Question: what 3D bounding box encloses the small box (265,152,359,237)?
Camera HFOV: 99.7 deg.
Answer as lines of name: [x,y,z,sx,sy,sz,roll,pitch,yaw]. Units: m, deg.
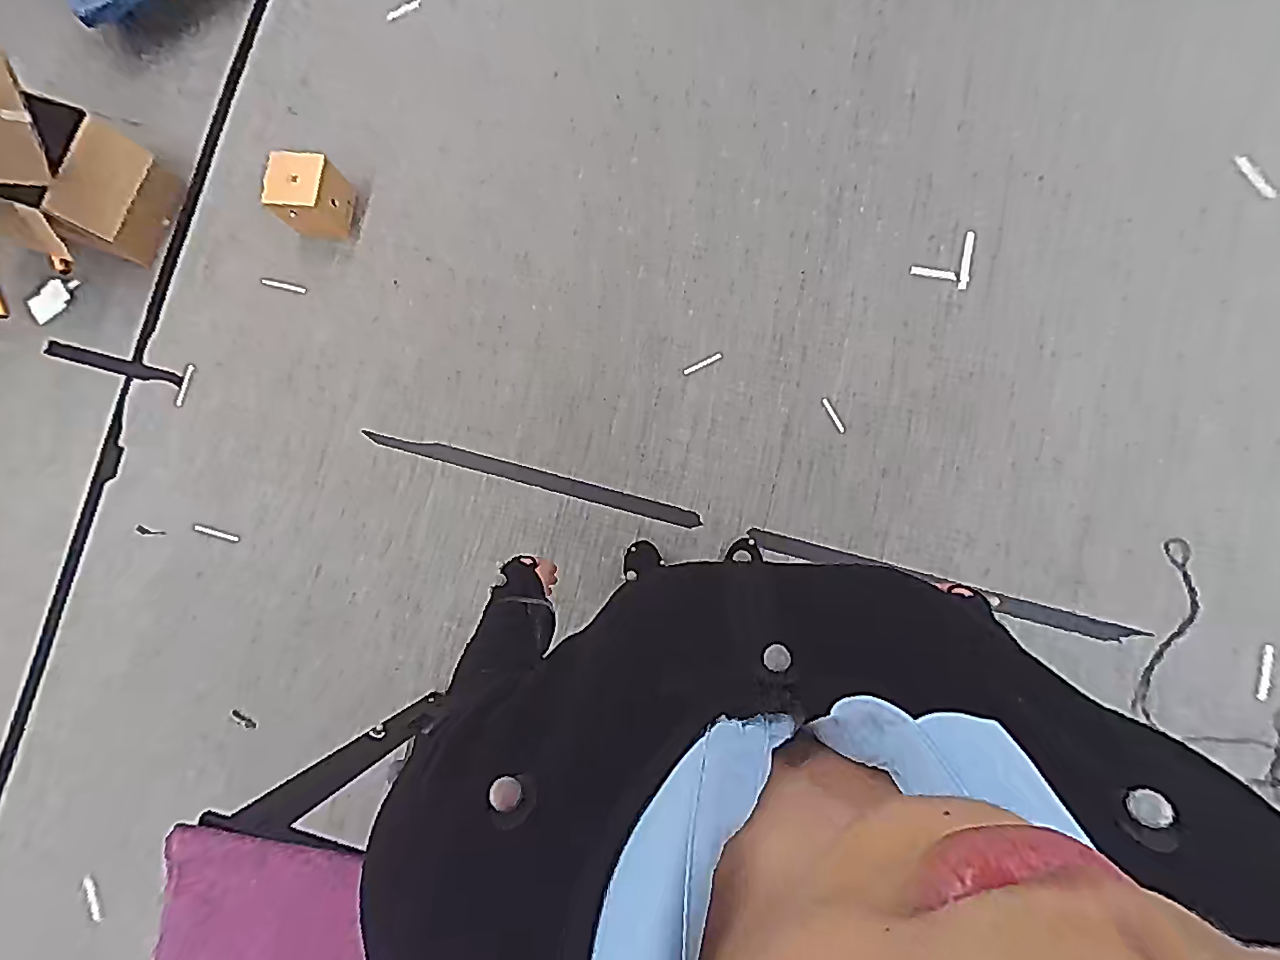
small box: [-1.001,-0.872,1.664,0.179,0.176,0.168,7,84,7]
